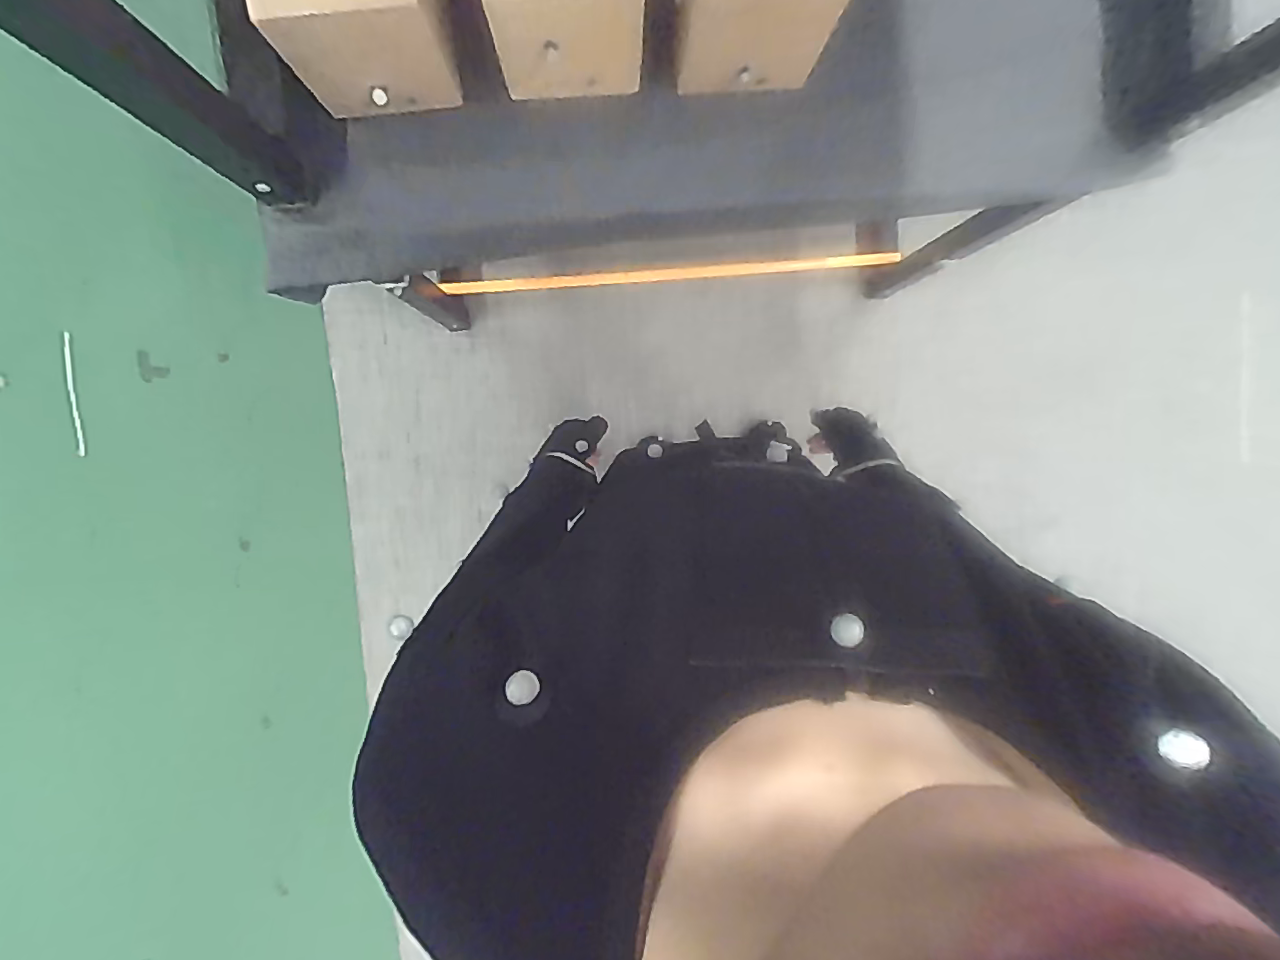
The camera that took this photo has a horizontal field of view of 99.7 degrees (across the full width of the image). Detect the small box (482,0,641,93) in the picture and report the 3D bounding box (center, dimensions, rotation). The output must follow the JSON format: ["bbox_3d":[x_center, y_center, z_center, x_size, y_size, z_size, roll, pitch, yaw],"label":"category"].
[{"bbox_3d":[-0.086,-0.572,0.611,0.168,0.176,0.179,-5,94,-2],"label":"small box"}]

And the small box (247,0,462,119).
[{"bbox_3d":[-0.311,-0.546,0.601,0.168,0.176,0.179,-7,95,-2],"label":"small box"}]
